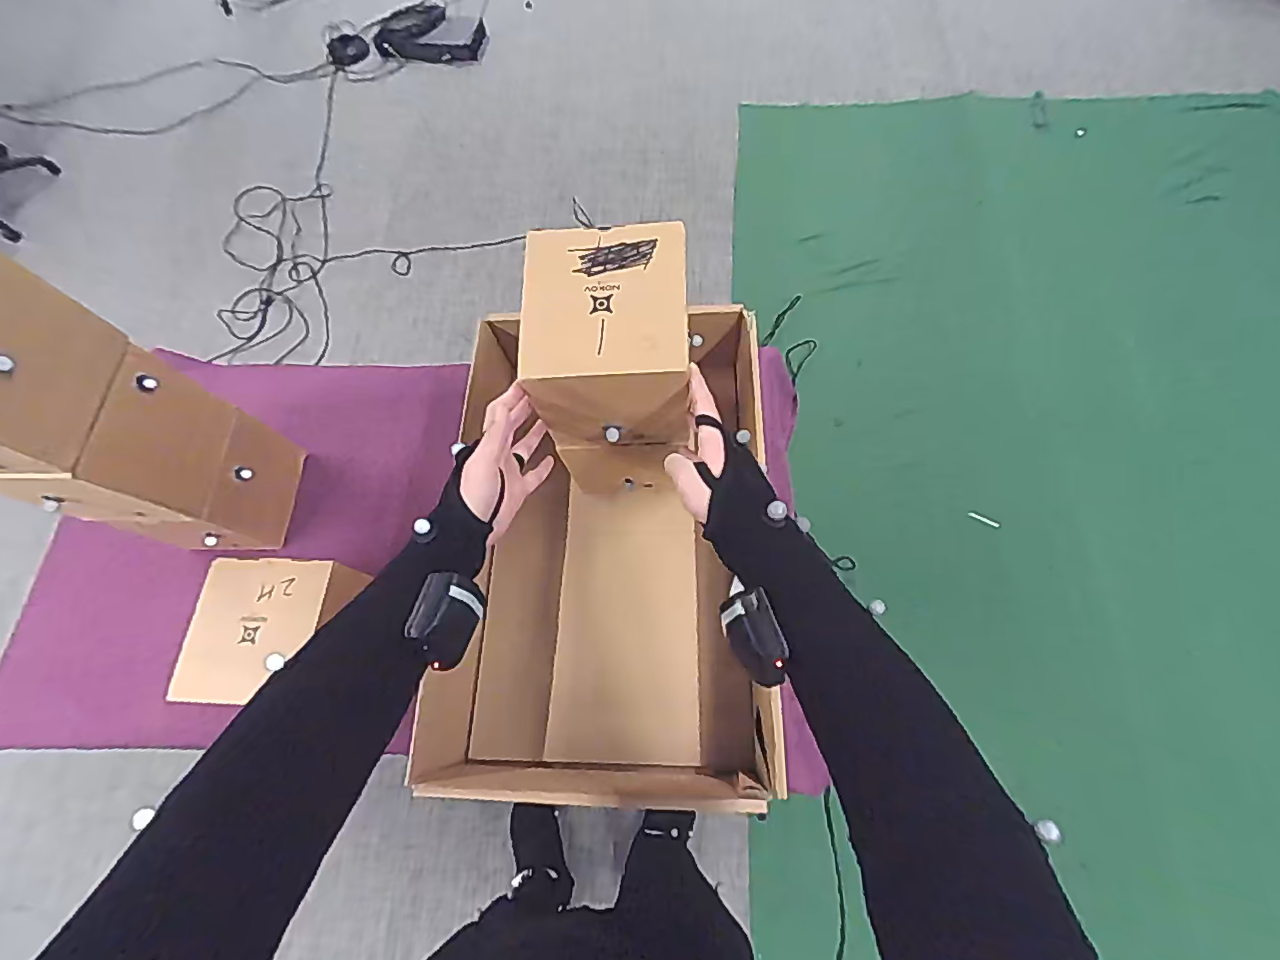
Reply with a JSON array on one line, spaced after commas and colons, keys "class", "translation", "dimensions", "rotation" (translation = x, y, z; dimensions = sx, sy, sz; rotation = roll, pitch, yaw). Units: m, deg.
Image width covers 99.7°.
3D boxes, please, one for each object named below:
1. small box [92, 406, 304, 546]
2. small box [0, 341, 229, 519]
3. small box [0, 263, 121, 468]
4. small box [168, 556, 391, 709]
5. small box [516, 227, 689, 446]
[{"class": "small box", "translation": [-0.661, 0.001, 0.835], "dimensions": [0.168, 0.176, 0.179], "rotation": [1, 69, 4]}, {"class": "small box", "translation": [-0.673, -0.053, 0.683], "dimensions": [0.168, 0.176, 0.179], "rotation": [0, 68, 4]}, {"class": "small box", "translation": [-0.682, -0.117, 0.532], "dimensions": [0.168, 0.176, 0.179], "rotation": [0, 69, 3]}, {"class": "small box", "translation": [-0.467, 0.209, 0.735], "dimensions": [0.168, 0.176, 0.179], "rotation": [2, 69, 4]}, {"class": "small box", "translation": [-0.030, -0.151, 0.610], "dimensions": [0.168, 0.176, 0.179], "rotation": [-2, 71, 5]}]
